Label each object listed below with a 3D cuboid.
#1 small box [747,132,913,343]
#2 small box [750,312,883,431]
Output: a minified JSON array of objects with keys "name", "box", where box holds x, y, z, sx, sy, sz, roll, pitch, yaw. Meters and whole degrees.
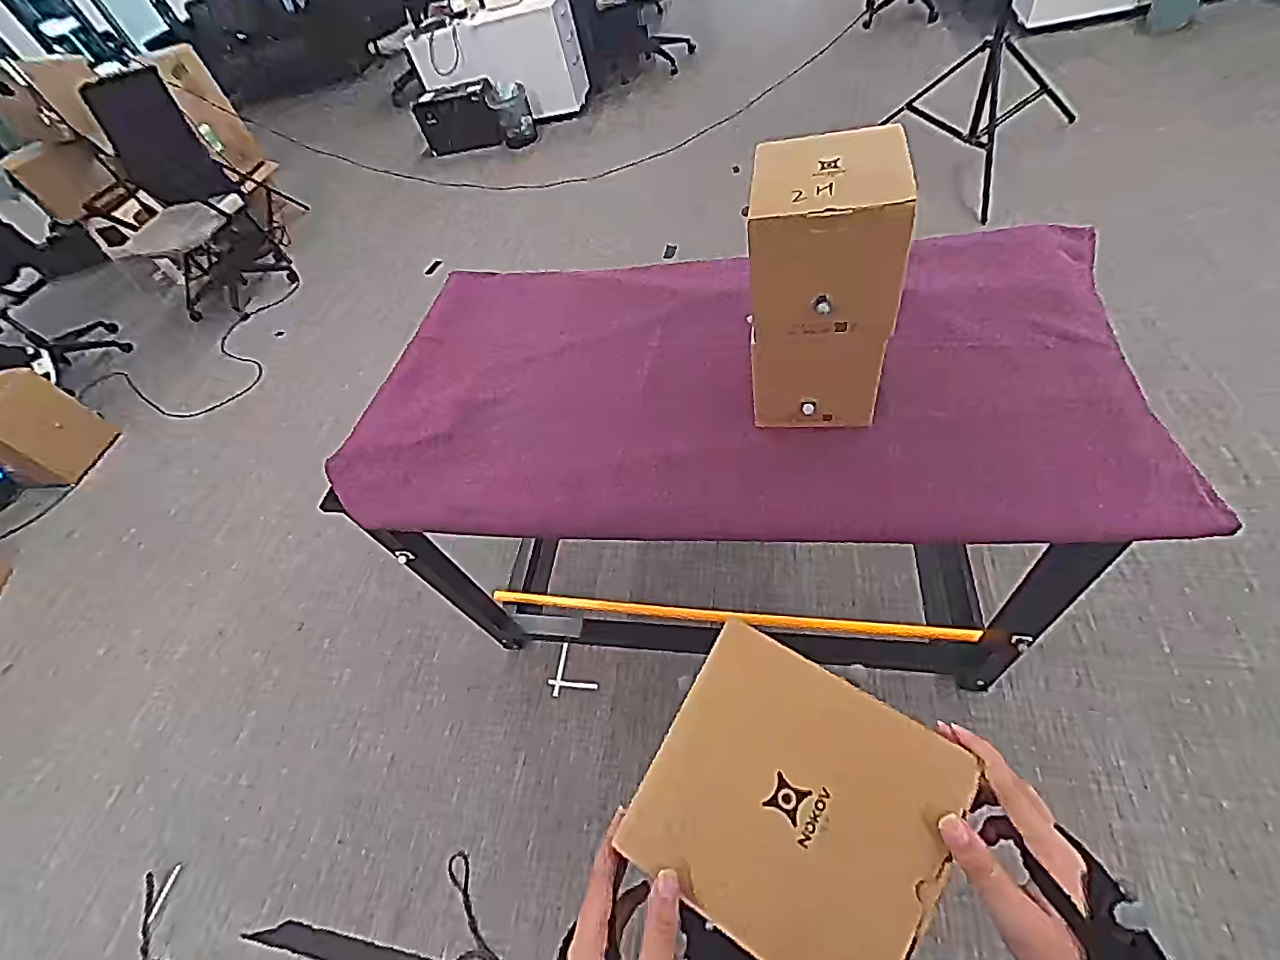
[{"name":"small box","box":[0.224,-0.290,0.664,0.168,0.176,0.179,1,54,17]},{"name":"small box","box":[0.252,-0.193,0.794,0.168,0.176,0.179,2,55,16]}]
